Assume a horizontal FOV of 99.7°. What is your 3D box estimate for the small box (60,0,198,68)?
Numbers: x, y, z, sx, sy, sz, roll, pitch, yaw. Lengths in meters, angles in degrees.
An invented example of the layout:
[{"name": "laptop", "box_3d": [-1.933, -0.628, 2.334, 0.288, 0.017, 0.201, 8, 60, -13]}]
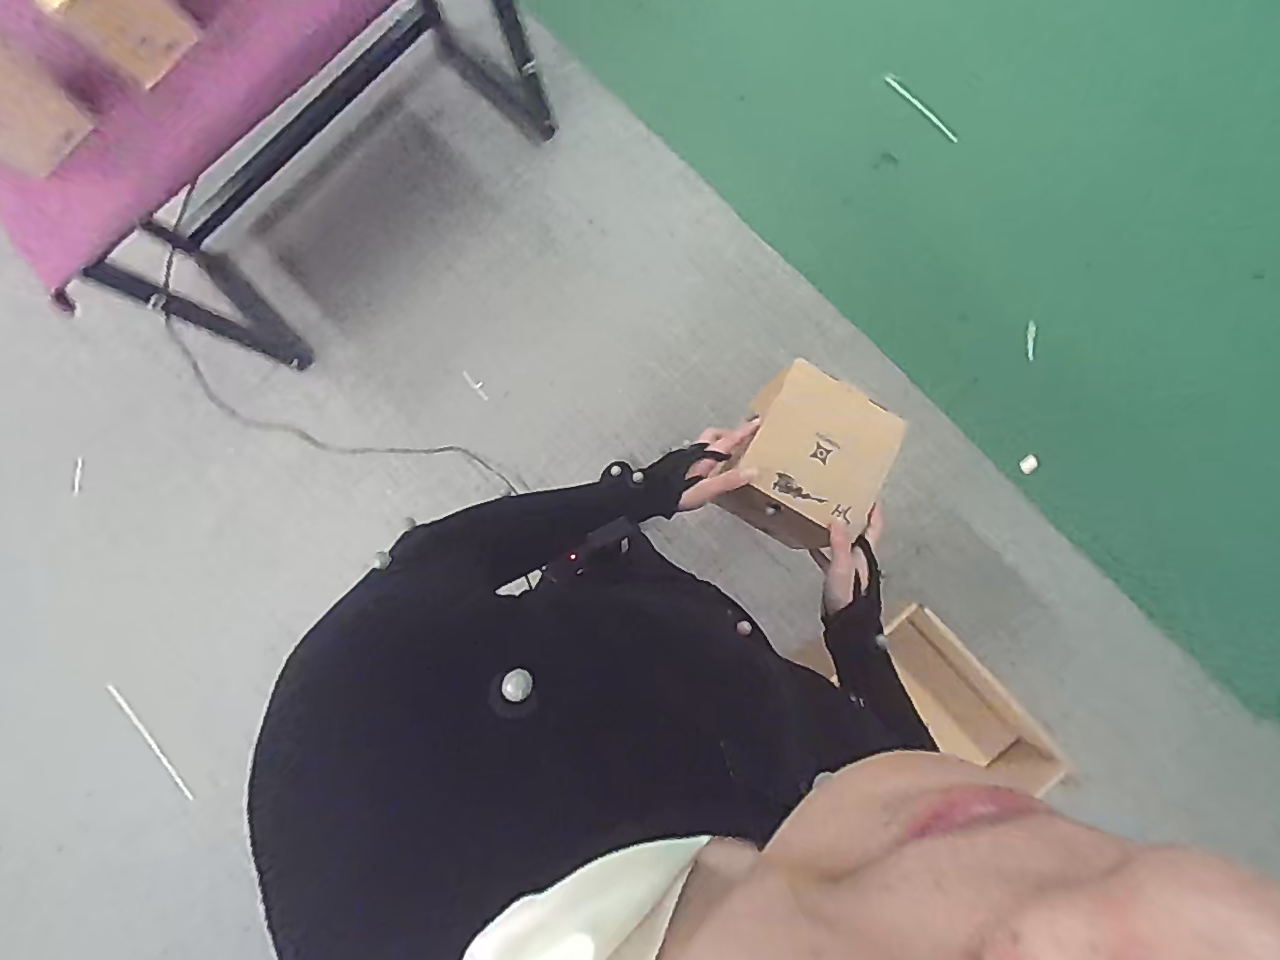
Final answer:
[{"name": "small box", "box_3d": [-1.005, -0.940, 1.015, 0.168, 0.176, 0.179, -45, 84, -1]}]
